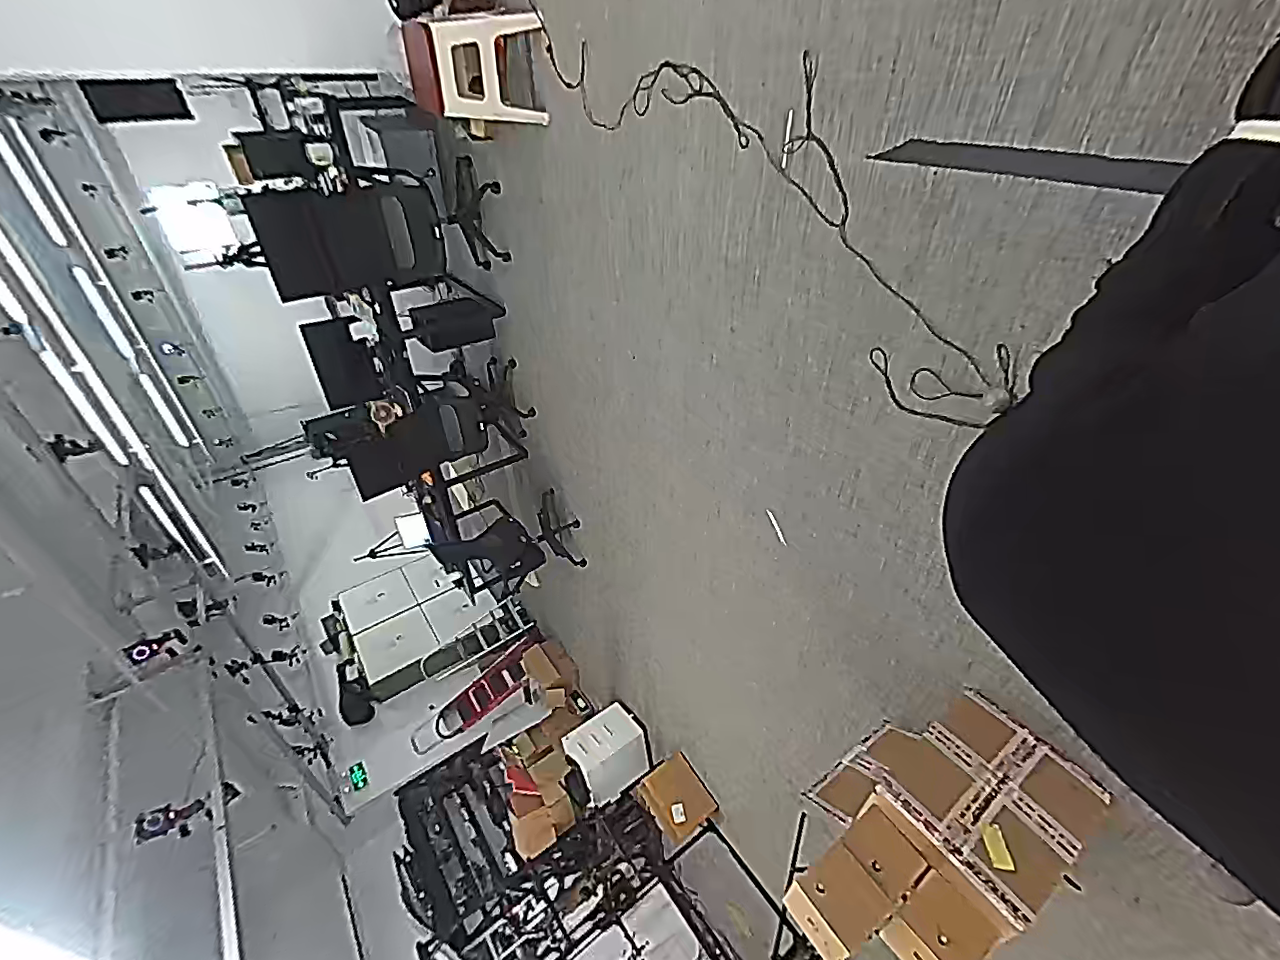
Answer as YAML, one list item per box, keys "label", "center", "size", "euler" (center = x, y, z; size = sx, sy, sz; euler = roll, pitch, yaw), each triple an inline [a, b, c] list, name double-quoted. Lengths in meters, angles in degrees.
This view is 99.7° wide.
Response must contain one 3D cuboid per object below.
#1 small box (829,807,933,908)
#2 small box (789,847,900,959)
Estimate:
- label: "small box"
  center: [0.645, 1.033, 1.459]
  size: [0.179, 0.176, 0.168]
  euler: [46, 145, 37]
- label: "small box"
  center: [0.512, 1.071, 1.365]
  size: [0.179, 0.176, 0.168]
  euler: [43, 144, 39]
